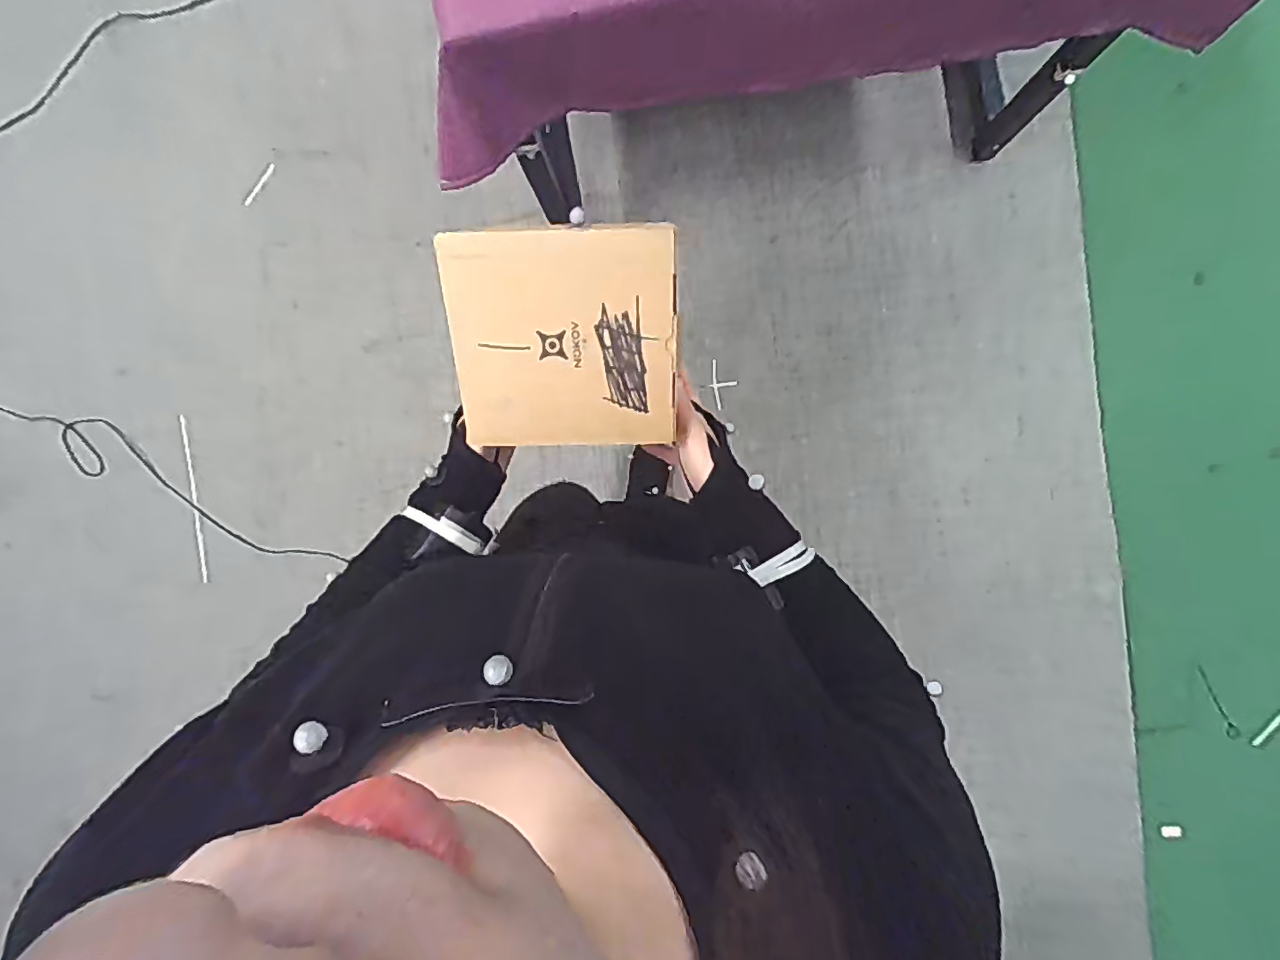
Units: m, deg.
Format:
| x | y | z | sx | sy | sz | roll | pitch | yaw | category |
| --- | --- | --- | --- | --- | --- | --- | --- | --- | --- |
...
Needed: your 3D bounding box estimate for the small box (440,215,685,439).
| x | y | z | sx | sy | sz | roll | pitch | yaw | category |
| --- | --- | --- | --- | --- | --- | --- | --- | --- | --- |
| -0.053 | -0.144 | 0.485 | 0.179 | 0.176 | 0.168 | 0 | 116 | 2 | small box |
